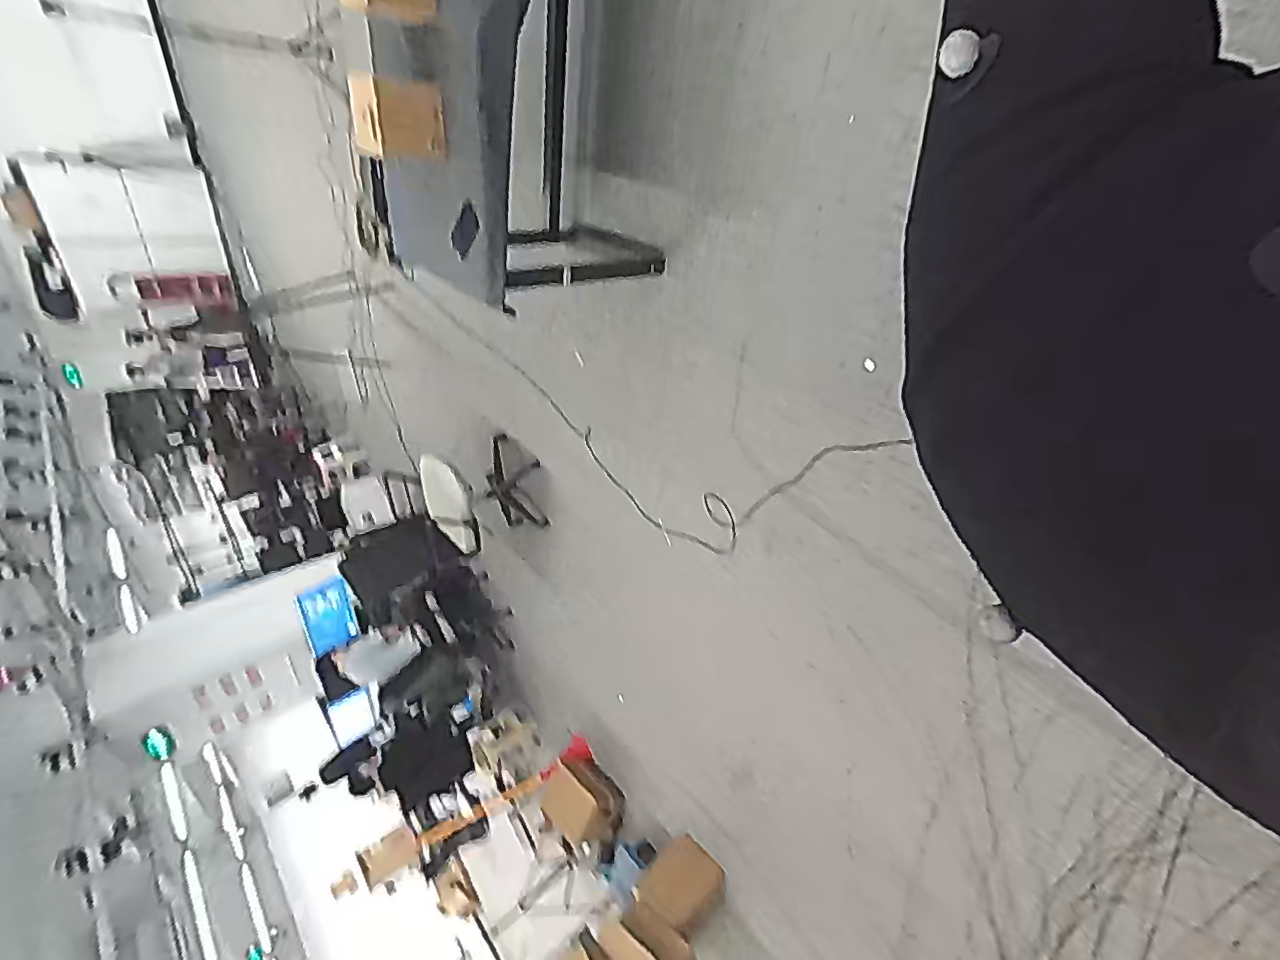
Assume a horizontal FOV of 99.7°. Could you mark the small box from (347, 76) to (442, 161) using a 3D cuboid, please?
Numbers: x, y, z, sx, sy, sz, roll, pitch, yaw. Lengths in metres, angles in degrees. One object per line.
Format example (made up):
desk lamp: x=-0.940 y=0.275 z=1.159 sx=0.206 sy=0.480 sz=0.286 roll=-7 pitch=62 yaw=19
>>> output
small box: x=-0.624 y=-0.929 z=1.395 sx=0.179 sy=0.176 sz=0.168 roll=34 pitch=131 yaw=36

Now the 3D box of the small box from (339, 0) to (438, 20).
small box: x=-0.583 y=-1.171 z=1.230 sx=0.179 sy=0.176 sz=0.168 roll=32 pitch=132 yaw=36
